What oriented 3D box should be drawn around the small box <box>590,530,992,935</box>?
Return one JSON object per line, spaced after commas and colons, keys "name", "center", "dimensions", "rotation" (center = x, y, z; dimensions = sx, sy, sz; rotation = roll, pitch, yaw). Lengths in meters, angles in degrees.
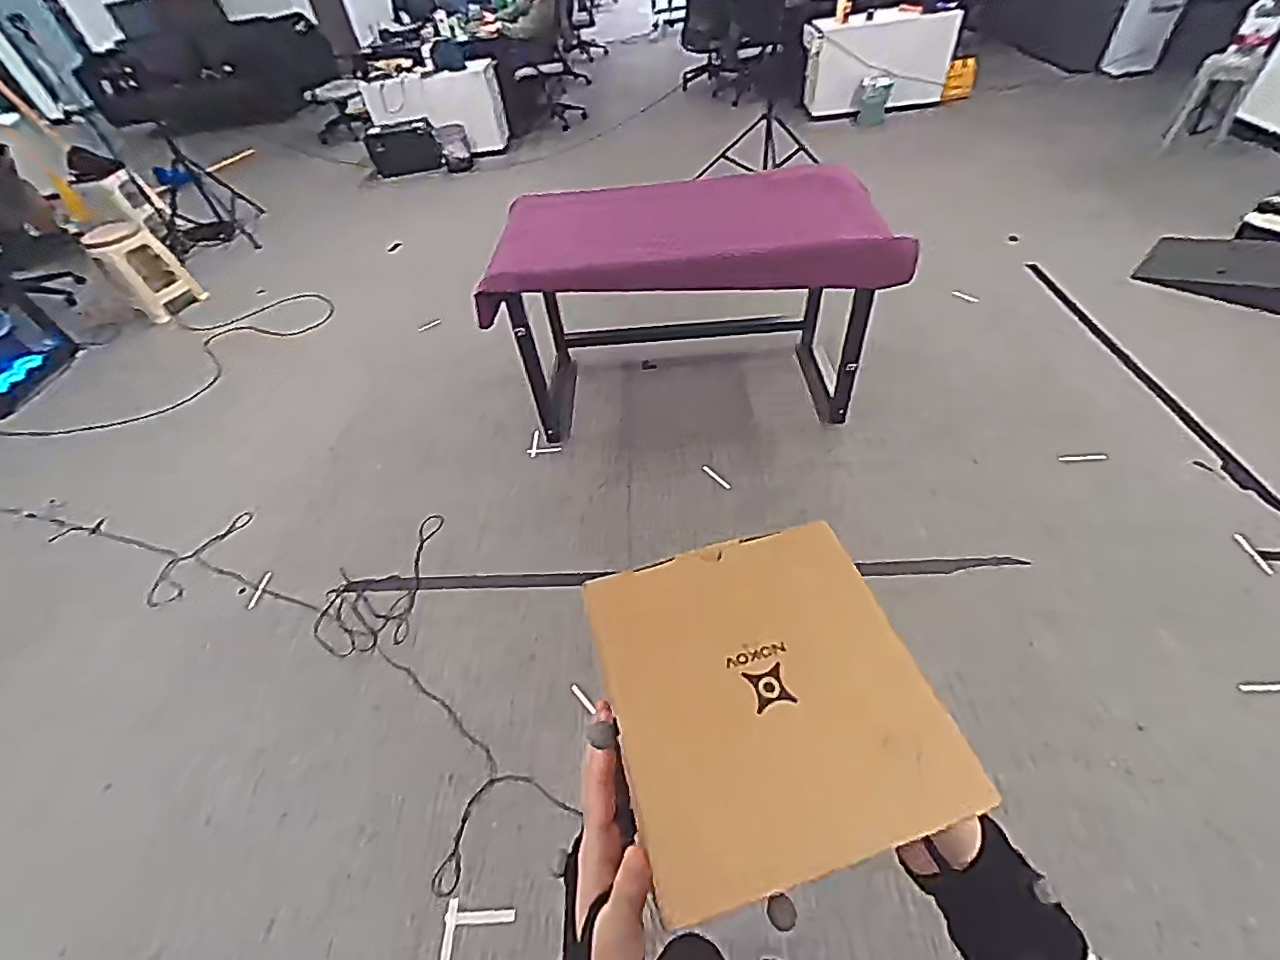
{"name": "small box", "center": [0.072, 0.166, 0.358], "dimensions": [0.168, 0.176, 0.179], "rotation": [-13, 49, -10]}
